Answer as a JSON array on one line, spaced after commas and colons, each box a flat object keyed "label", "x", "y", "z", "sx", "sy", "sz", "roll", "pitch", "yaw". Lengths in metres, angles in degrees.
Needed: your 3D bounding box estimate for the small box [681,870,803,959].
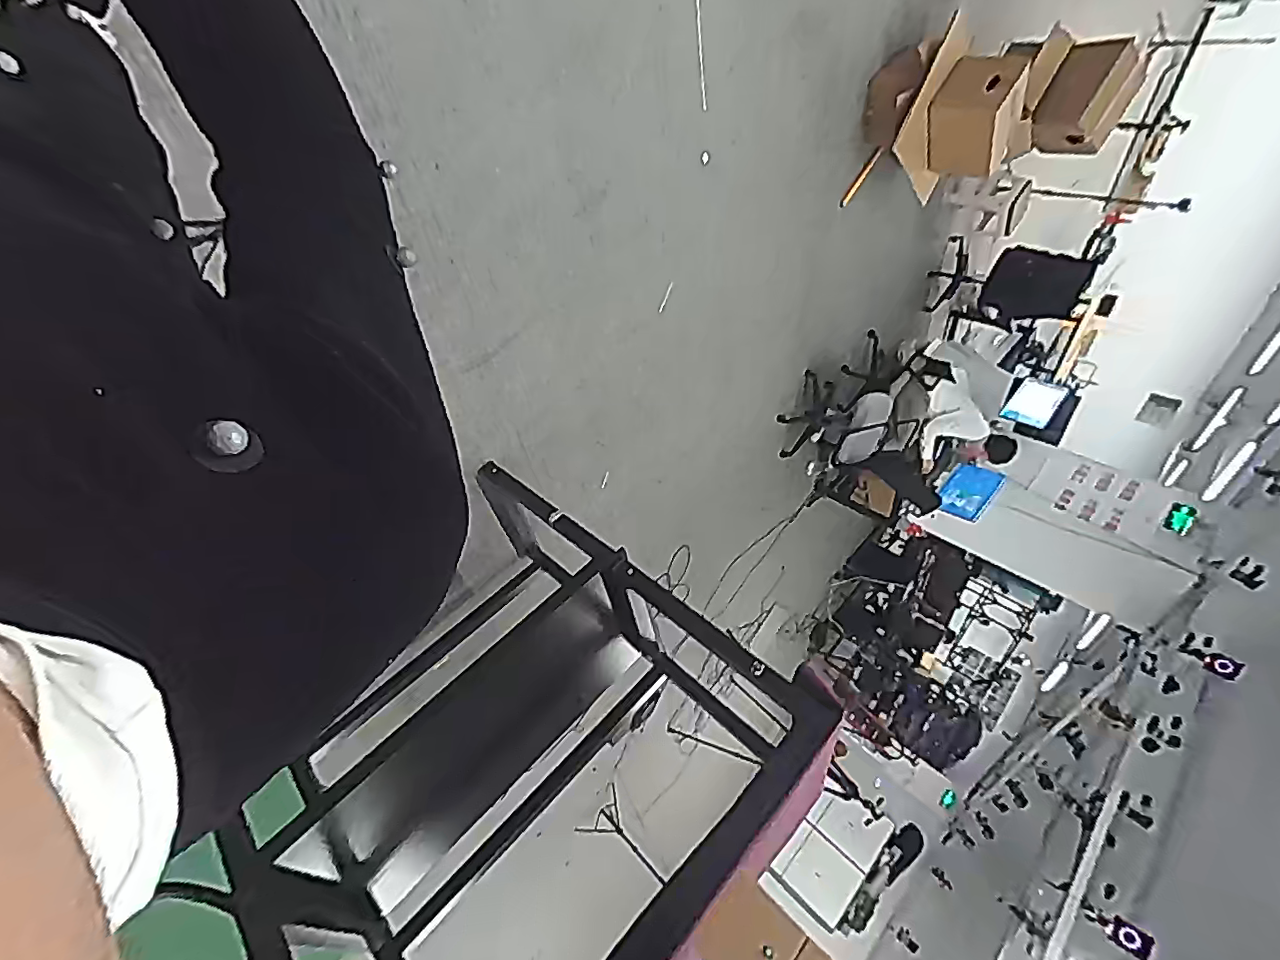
[{"label": "small box", "x": 0.203, "y": 0.947, "z": 1.101, "sx": 0.179, "sy": 0.176, "sz": 0.168, "roll": -37, "pitch": 140, "yaw": -26}]
